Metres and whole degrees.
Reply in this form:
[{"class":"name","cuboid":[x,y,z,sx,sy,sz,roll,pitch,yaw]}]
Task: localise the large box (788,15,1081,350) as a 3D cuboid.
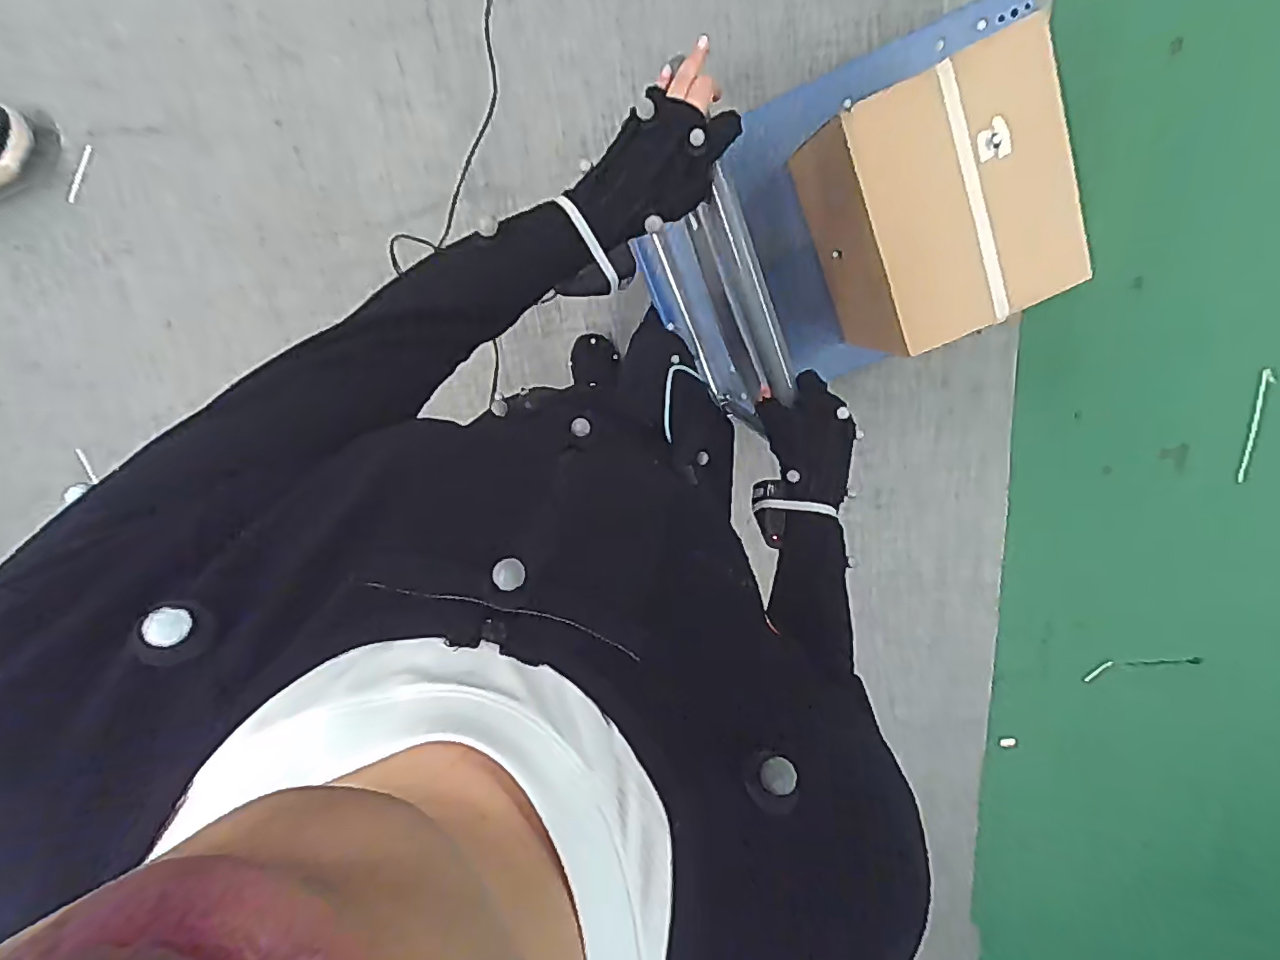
[{"class":"large box","cuboid":[0.519,-0.502,1.009,0.320,0.320,0.408,-24,107,7]}]
